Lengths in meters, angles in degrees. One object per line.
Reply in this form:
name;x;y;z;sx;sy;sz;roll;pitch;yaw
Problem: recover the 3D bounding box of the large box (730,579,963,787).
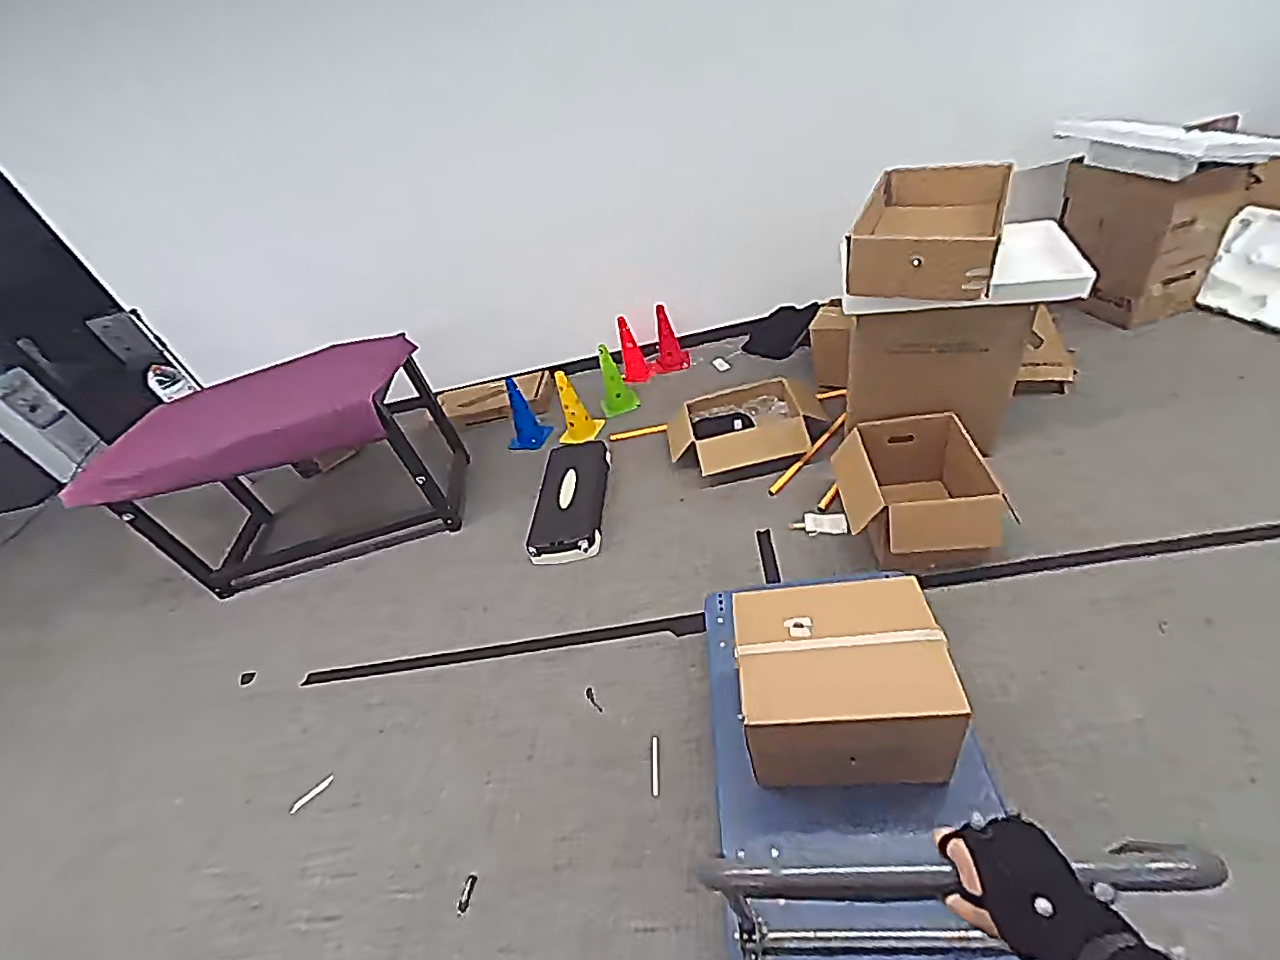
large box;0.437;0.462;1.217;0.408;0.320;0.320;-10;38;11
